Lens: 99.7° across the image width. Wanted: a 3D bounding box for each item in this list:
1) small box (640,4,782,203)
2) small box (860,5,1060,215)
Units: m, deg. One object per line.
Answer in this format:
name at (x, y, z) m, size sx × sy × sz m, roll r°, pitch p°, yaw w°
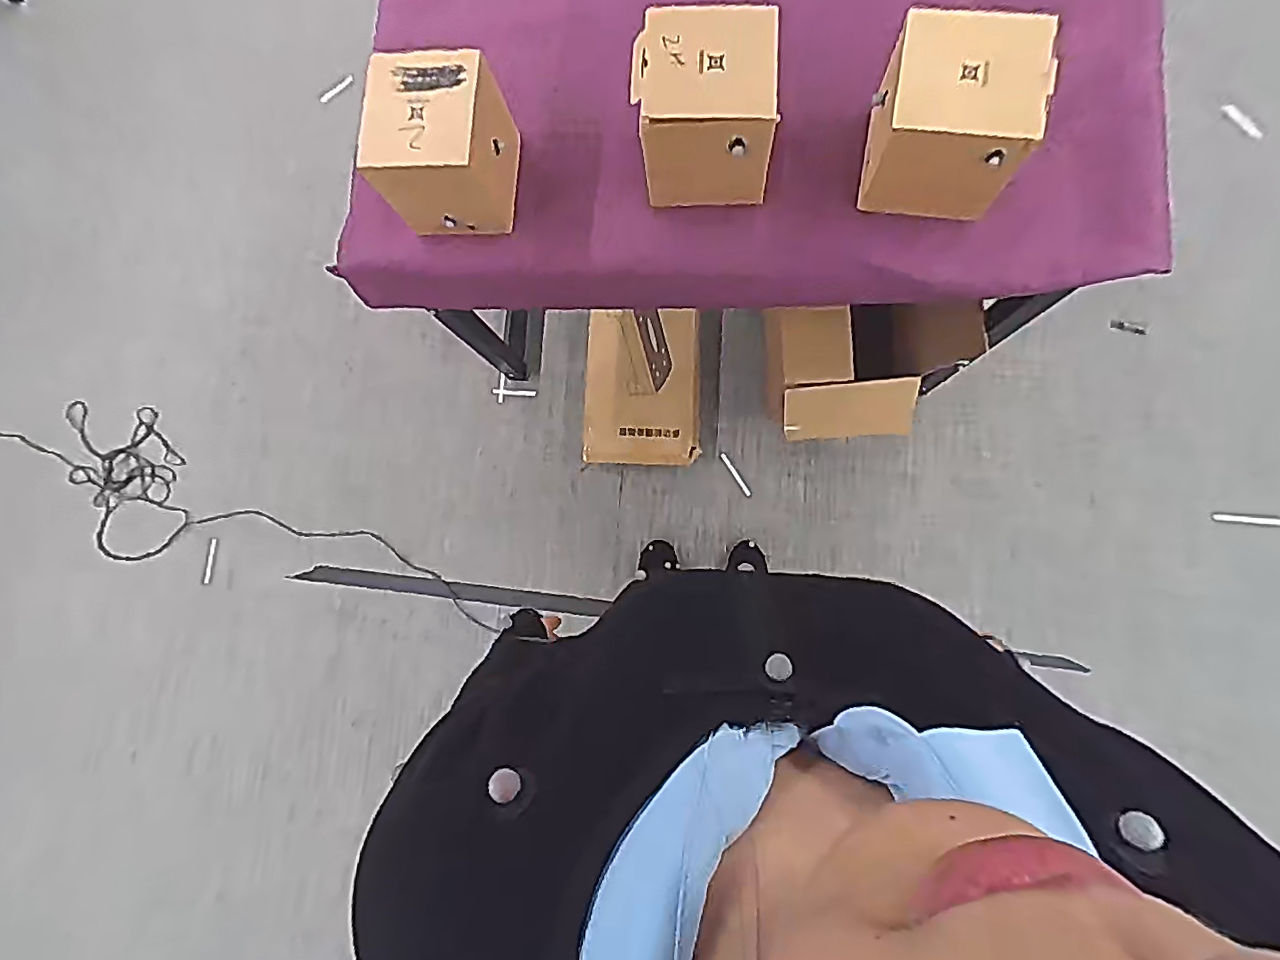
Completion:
small box at (0.099, -0.520, 0.769) m, size 0.179 × 0.176 × 0.168 m, roll 2°, pitch 81°, yaw 7°
small box at (0.413, -0.484, 0.728) m, size 0.179 × 0.176 × 0.168 m, roll 9°, pitch 85°, yaw 8°
